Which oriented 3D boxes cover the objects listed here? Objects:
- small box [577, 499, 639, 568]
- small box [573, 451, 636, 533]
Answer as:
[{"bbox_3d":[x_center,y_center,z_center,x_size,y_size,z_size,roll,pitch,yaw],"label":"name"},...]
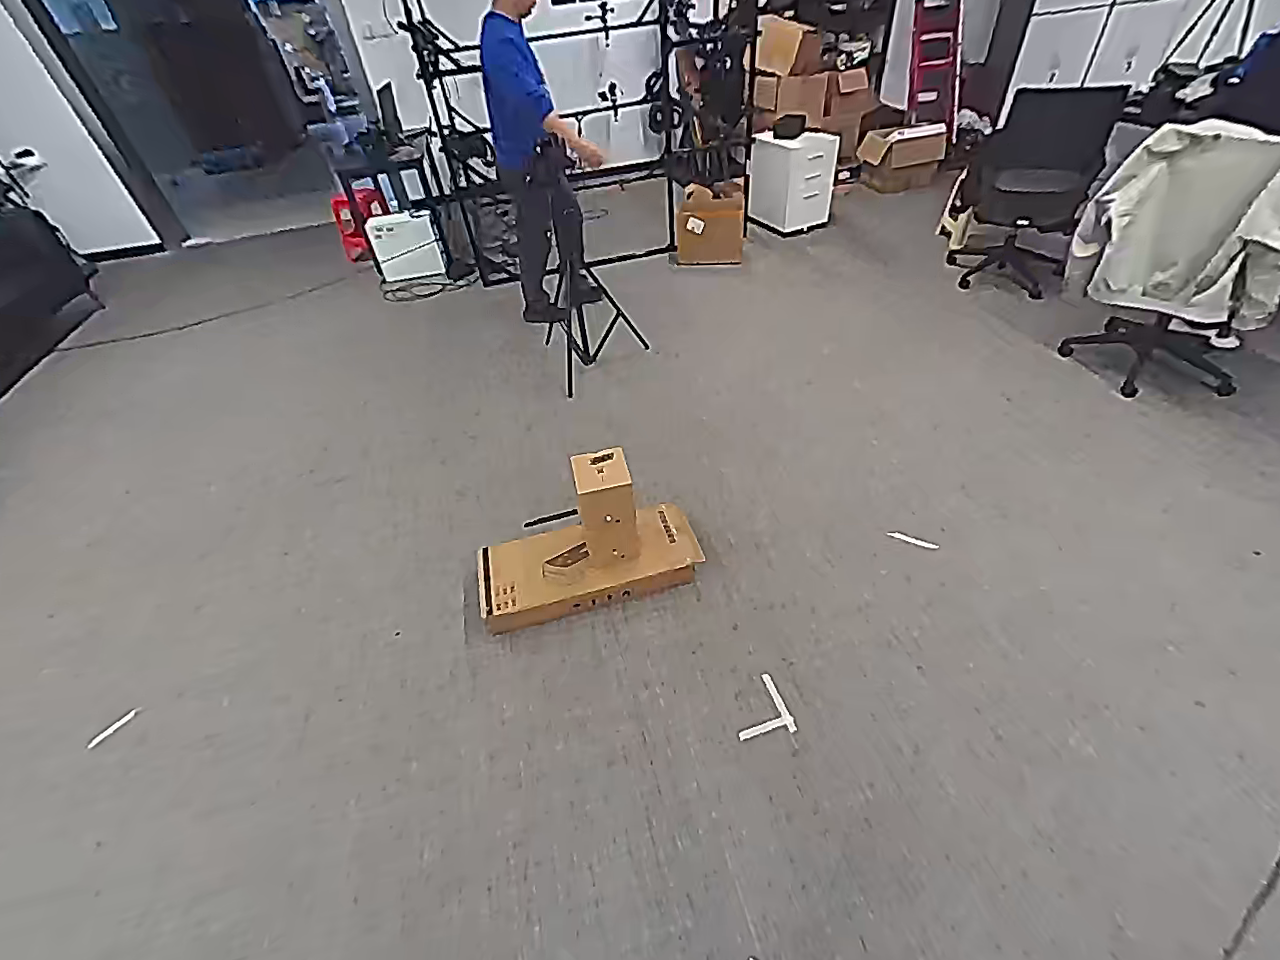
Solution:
[{"bbox_3d":[-0.106,0.162,1.805,0.168,0.176,0.179,-15,42,-8],"label":"small box"},{"bbox_3d":[-0.112,0.037,1.699,0.168,0.176,0.179,-12,42,-6],"label":"small box"}]
